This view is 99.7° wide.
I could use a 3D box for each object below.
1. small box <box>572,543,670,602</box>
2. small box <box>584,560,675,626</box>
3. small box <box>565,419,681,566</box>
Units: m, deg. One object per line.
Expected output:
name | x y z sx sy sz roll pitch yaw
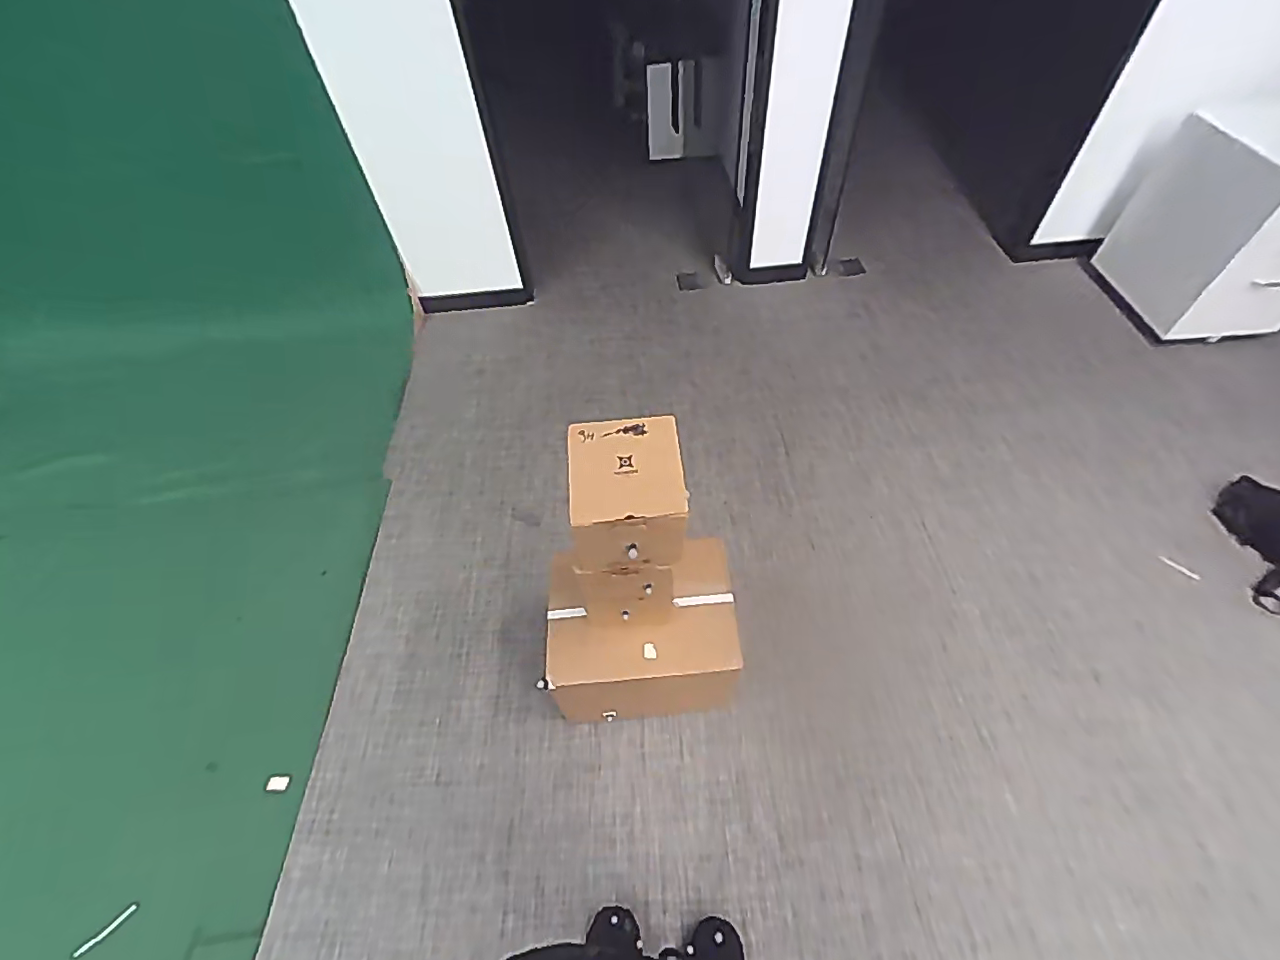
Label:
small box | -0.032 0.118 0.993 0.168 0.176 0.179 -5 58 -1
small box | -0.023 0.200 1.133 0.179 0.176 0.168 -5 59 0
small box | -0.025 0.028 0.857 0.168 0.176 0.179 -5 60 -1
